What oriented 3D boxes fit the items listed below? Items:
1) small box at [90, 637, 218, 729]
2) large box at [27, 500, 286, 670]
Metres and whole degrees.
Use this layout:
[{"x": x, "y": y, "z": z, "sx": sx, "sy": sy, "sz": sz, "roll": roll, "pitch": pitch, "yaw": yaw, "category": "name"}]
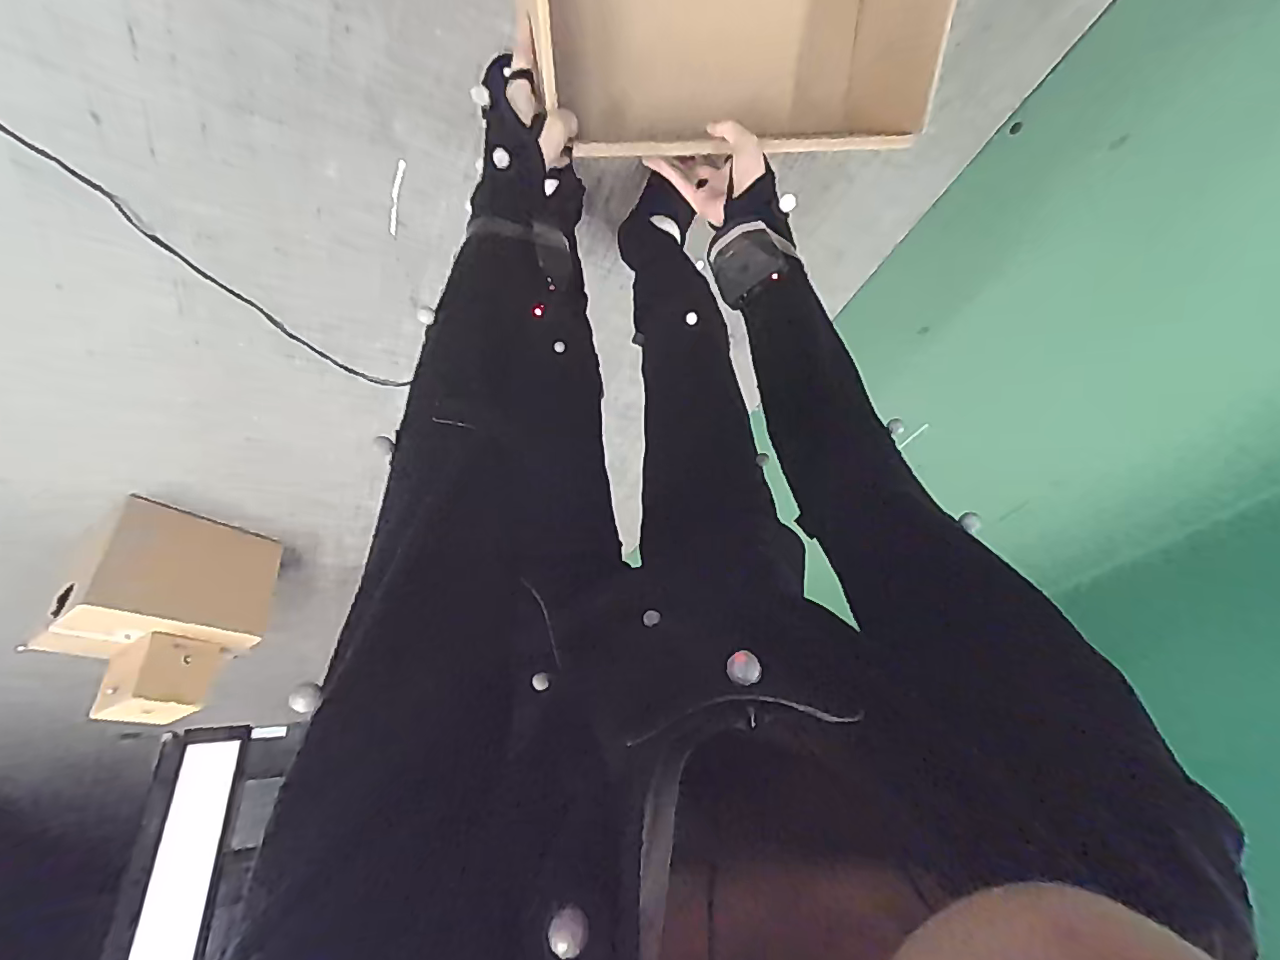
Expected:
[{"x": -1.244, "y": 0.527, "z": 1.398, "sx": 0.179, "sy": 0.176, "sz": 0.168, "roll": -25, "pitch": 142, "yaw": 18, "category": "small box"}, {"x": -1.303, "y": 0.312, "z": 1.506, "sx": 0.320, "sy": 0.320, "sz": 0.408, "roll": -29, "pitch": 140, "yaw": 21, "category": "large box"}]
